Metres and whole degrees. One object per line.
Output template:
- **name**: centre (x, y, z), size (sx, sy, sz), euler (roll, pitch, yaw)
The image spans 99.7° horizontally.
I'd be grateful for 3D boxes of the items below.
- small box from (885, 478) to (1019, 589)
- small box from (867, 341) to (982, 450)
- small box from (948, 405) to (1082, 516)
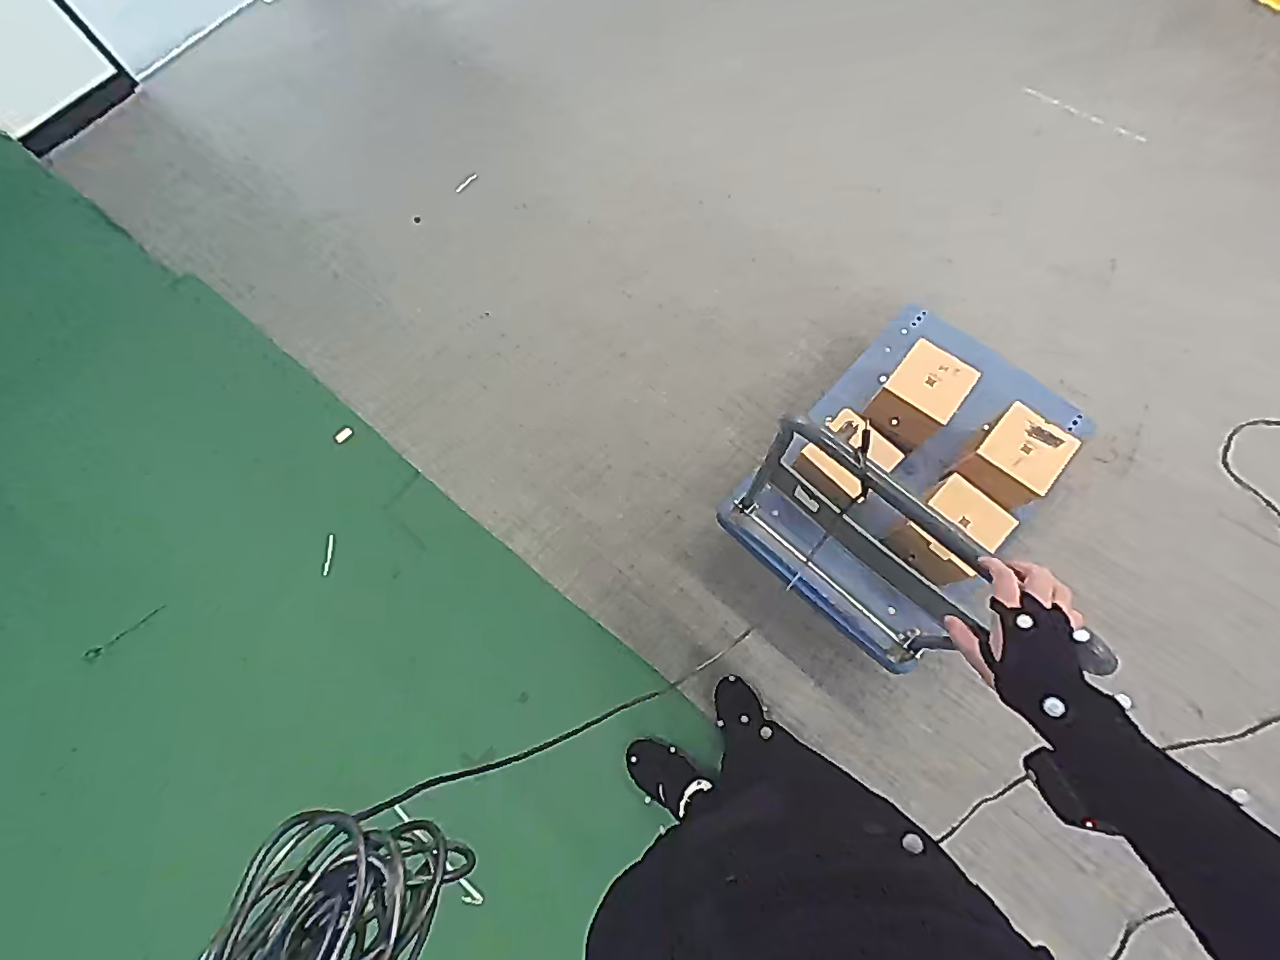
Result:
- **small box**: centre (0.704, 0.128, 1.244), size (0.179, 0.176, 0.168), euler (-43, 75, -11)
- **small box**: centre (0.699, -0.204, 1.355), size (0.168, 0.176, 0.179), euler (39, 77, 13)
- **small box**: centre (0.882, -0.039, 1.292), size (0.168, 0.176, 0.179), euler (40, 78, 15)
